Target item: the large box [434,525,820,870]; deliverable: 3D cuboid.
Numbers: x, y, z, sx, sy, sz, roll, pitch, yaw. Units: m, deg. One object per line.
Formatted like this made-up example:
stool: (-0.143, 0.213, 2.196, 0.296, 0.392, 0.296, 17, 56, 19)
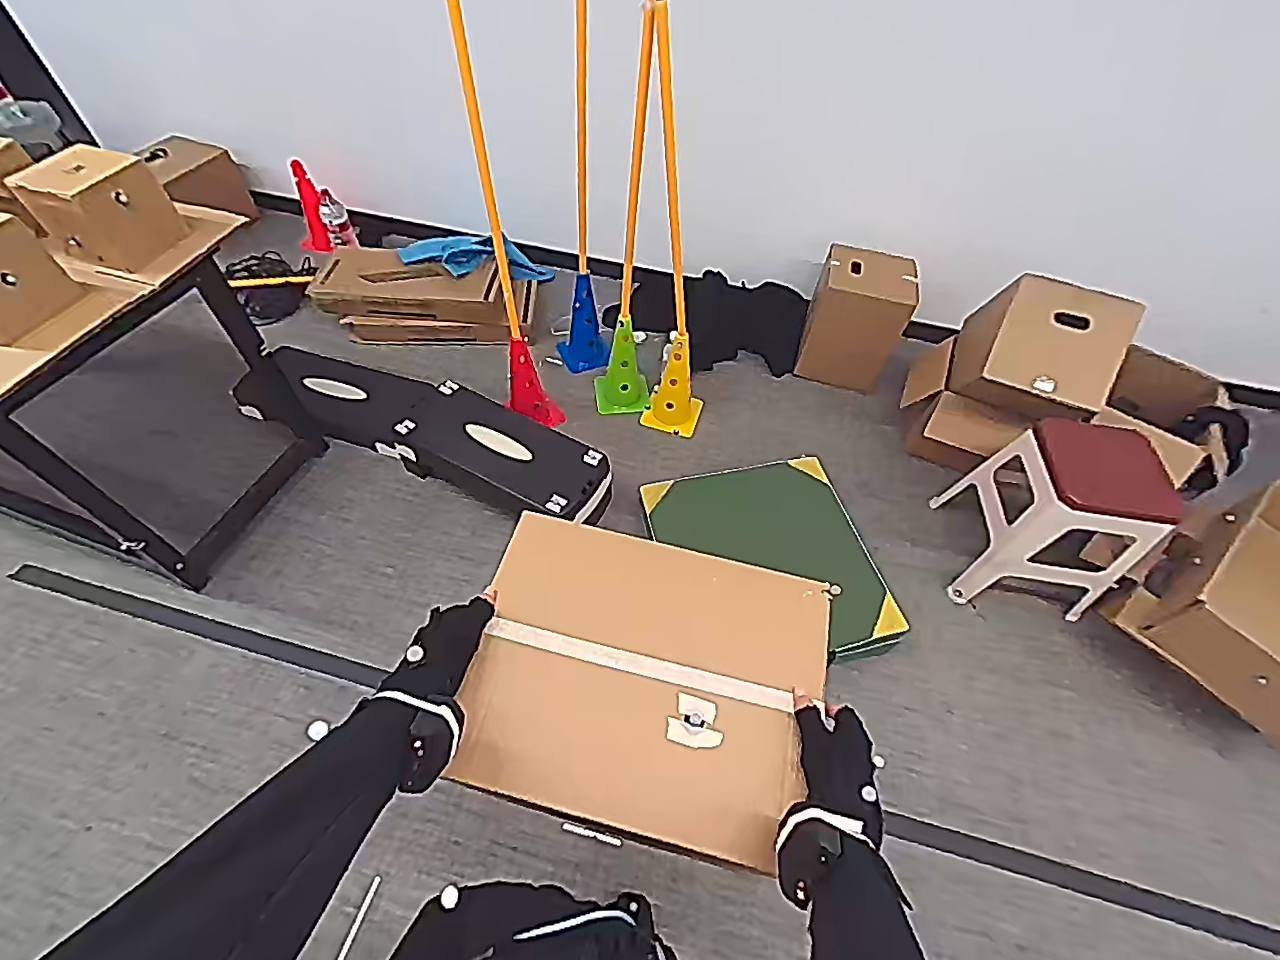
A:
large box: (-0.004, 0.305, 0.754, 0.408, 0.320, 0.320, 13, 57, 4)
